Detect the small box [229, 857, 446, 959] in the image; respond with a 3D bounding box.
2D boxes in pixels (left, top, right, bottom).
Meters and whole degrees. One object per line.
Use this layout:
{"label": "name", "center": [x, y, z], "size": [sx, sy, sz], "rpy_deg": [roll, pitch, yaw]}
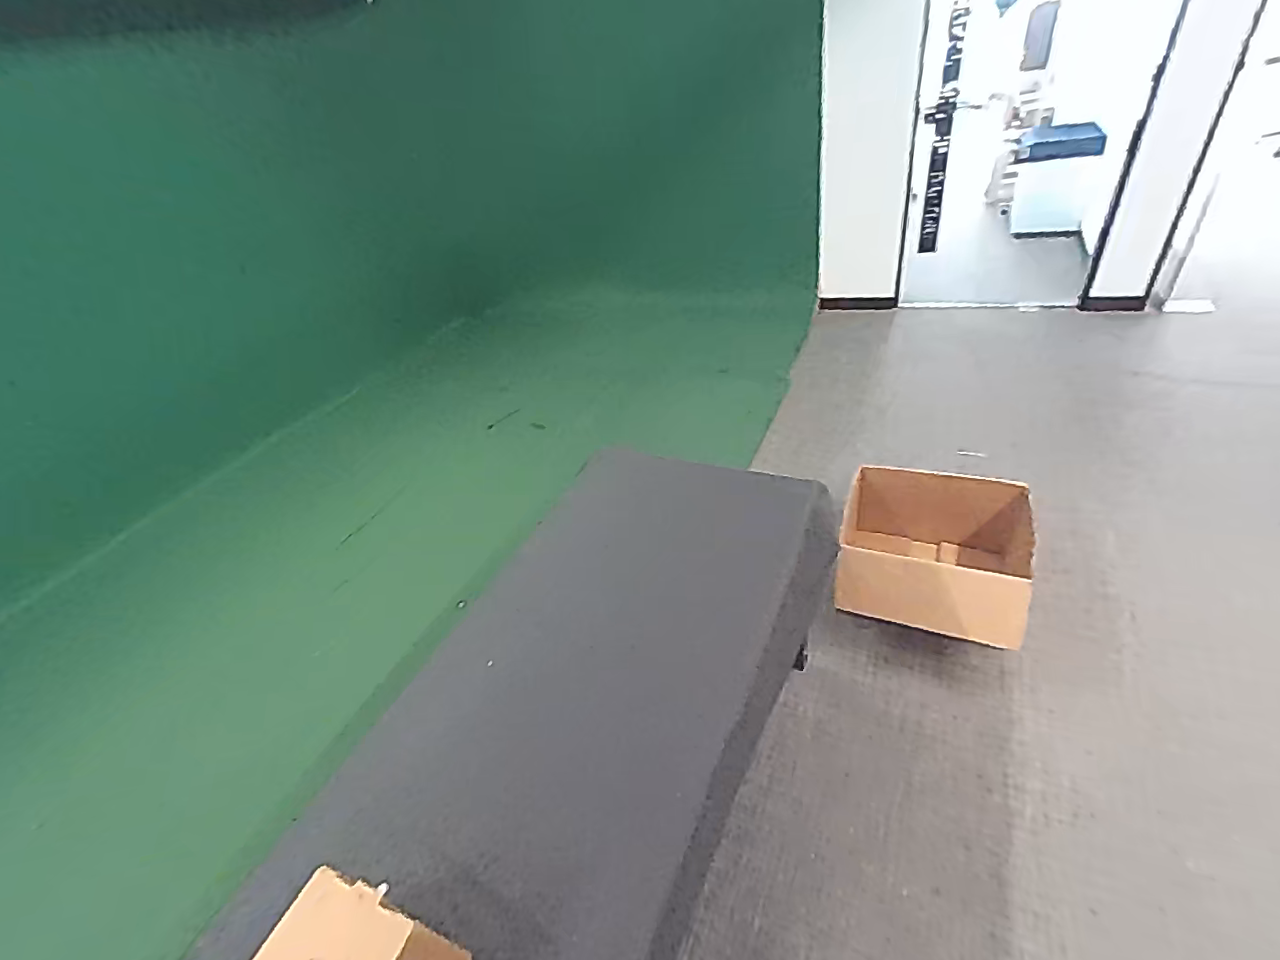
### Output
{"label": "small box", "center": [-0.349, 0.580, 0.613], "size": [0.168, 0.176, 0.179], "rpy_deg": [7, 43, 25]}
